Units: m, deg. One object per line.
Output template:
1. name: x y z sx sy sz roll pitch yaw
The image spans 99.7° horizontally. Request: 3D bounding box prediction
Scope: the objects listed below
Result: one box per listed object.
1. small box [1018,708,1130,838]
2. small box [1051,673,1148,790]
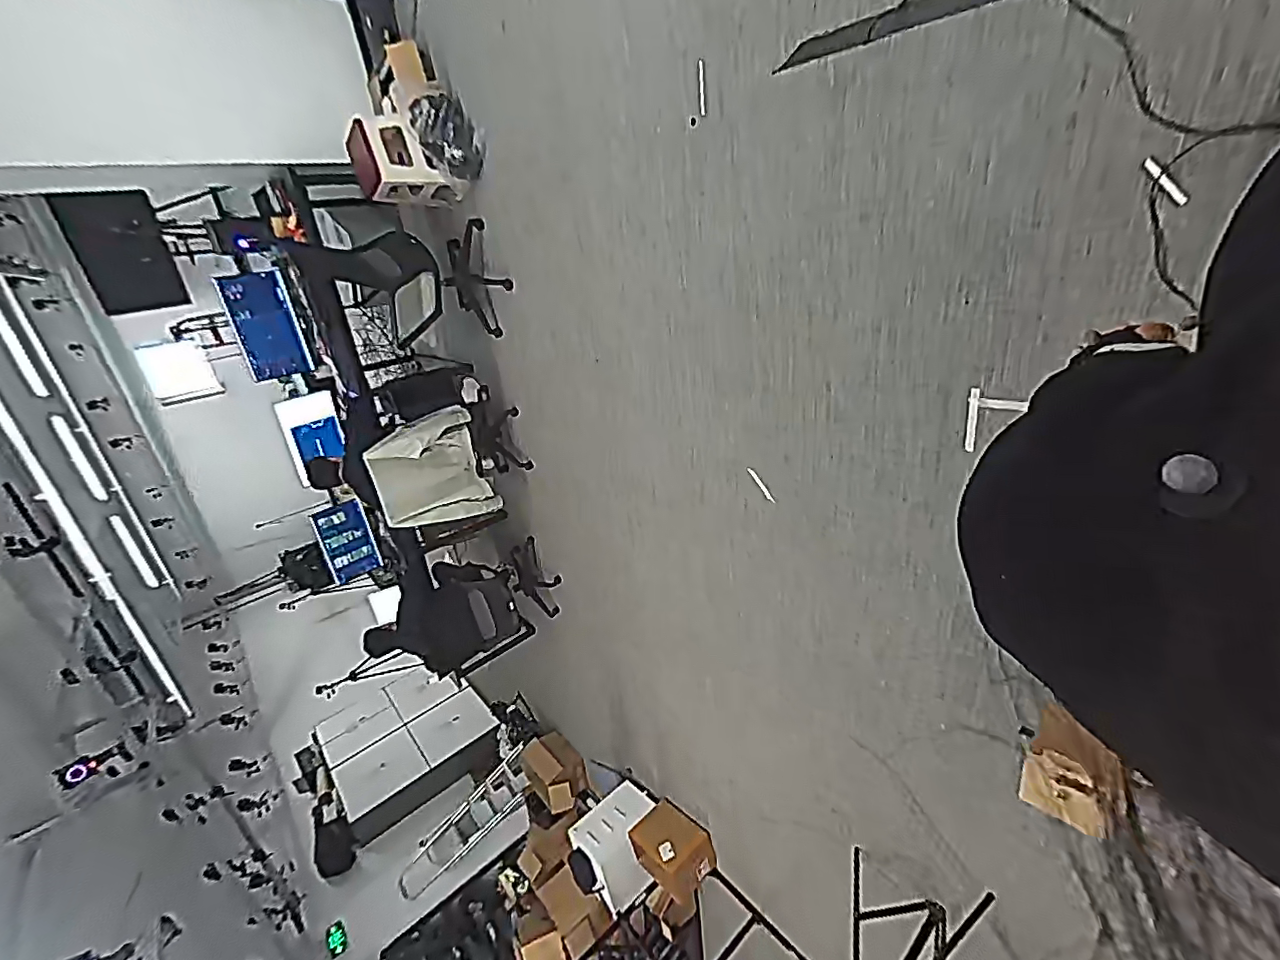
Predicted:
1. small box: 1.043 0.691 1.299 0.168 0.176 0.179 17 125 48
2. small box: 1.170 0.635 1.388 0.168 0.176 0.179 17 125 49
